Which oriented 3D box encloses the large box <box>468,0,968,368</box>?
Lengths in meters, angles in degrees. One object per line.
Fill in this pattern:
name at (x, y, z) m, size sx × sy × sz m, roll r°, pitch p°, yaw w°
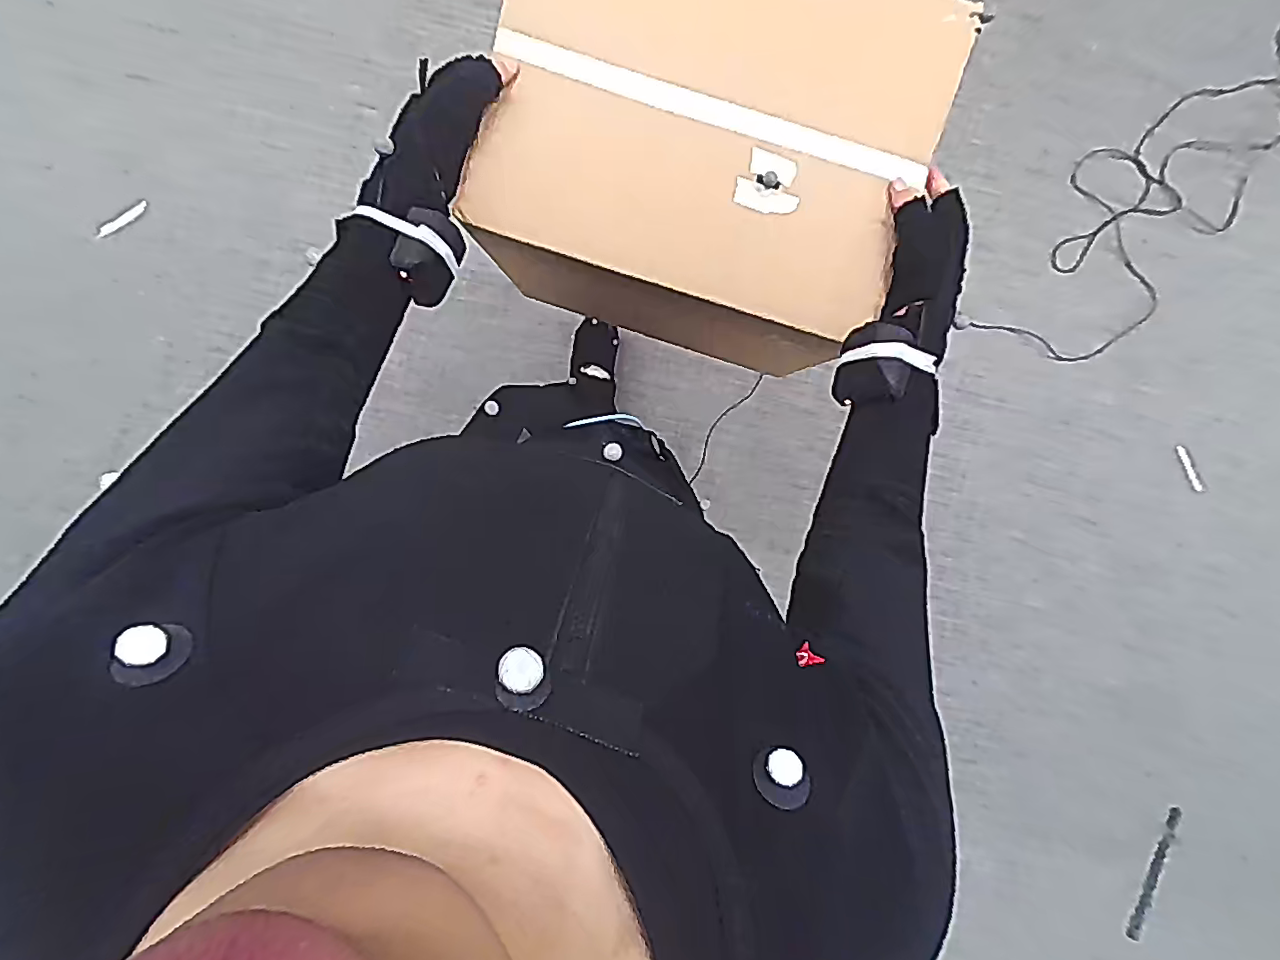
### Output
large box at (0.064, -0.348, 0.643) m, size 0.408 × 0.320 × 0.320 m, roll 17°, pitch 97°, yaw -3°
